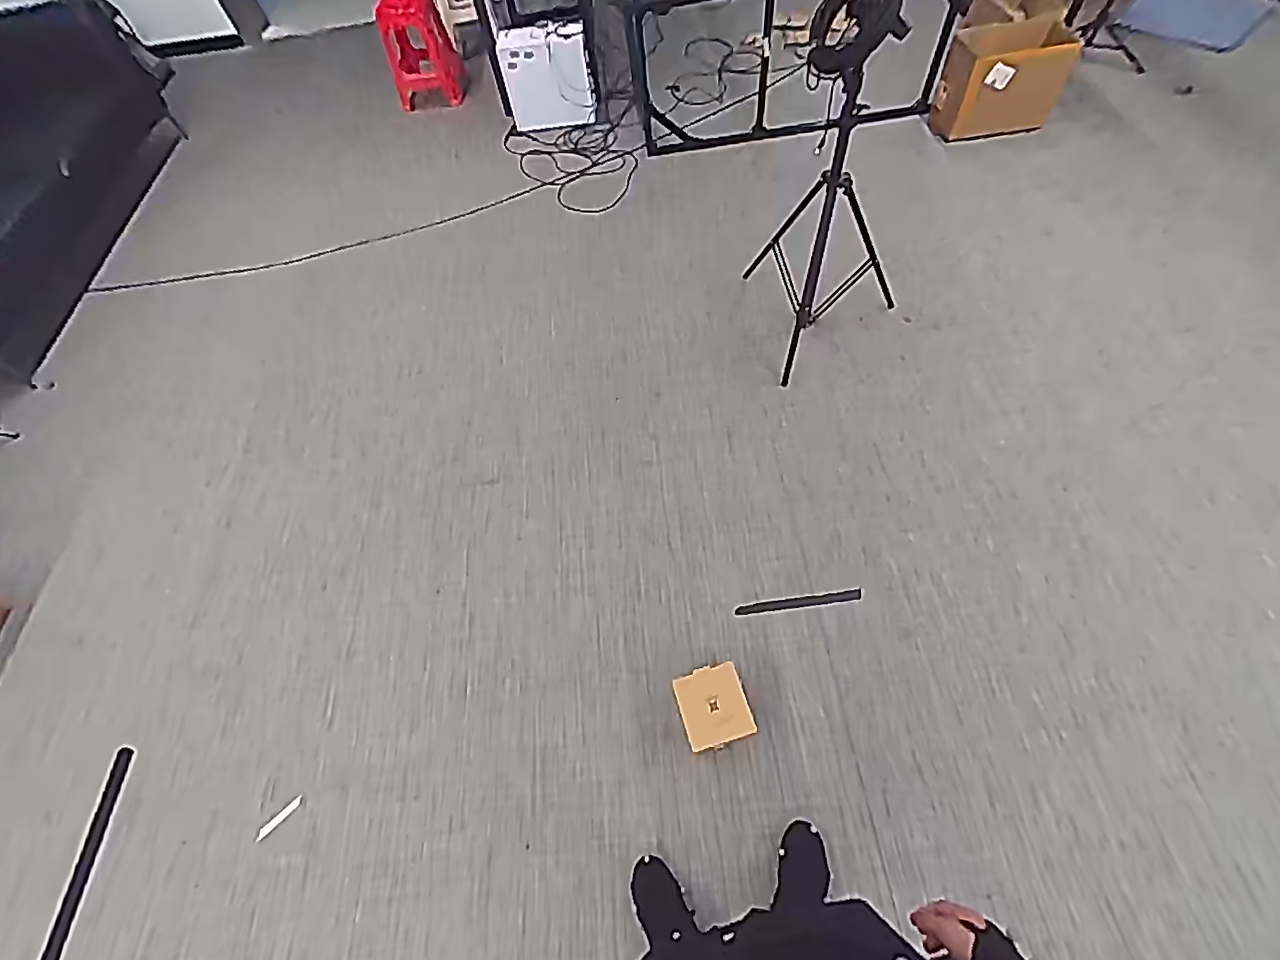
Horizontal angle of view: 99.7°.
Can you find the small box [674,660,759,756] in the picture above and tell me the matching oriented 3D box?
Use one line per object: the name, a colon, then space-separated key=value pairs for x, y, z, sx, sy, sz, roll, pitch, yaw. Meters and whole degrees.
small box: x=0.191 y=0.588 z=1.386 sx=0.168 sy=0.176 sz=0.179 roll=-17 pitch=59 yaw=-2
